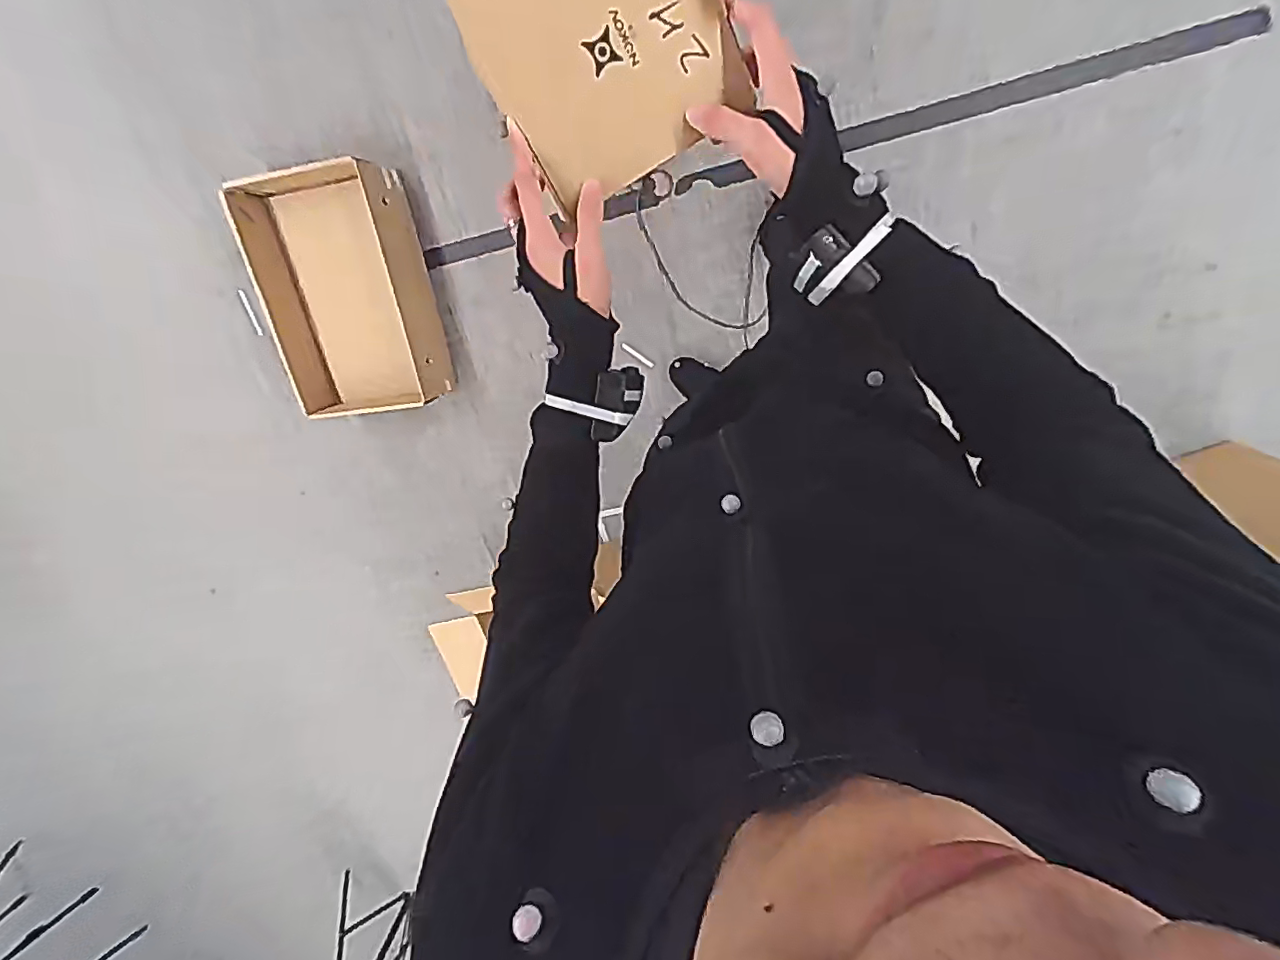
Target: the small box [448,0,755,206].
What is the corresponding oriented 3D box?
[{"bbox_3d":[-0.036,-0.350,0.453,0.179,0.176,0.168,-30,118,3],"label":"small box"}]
